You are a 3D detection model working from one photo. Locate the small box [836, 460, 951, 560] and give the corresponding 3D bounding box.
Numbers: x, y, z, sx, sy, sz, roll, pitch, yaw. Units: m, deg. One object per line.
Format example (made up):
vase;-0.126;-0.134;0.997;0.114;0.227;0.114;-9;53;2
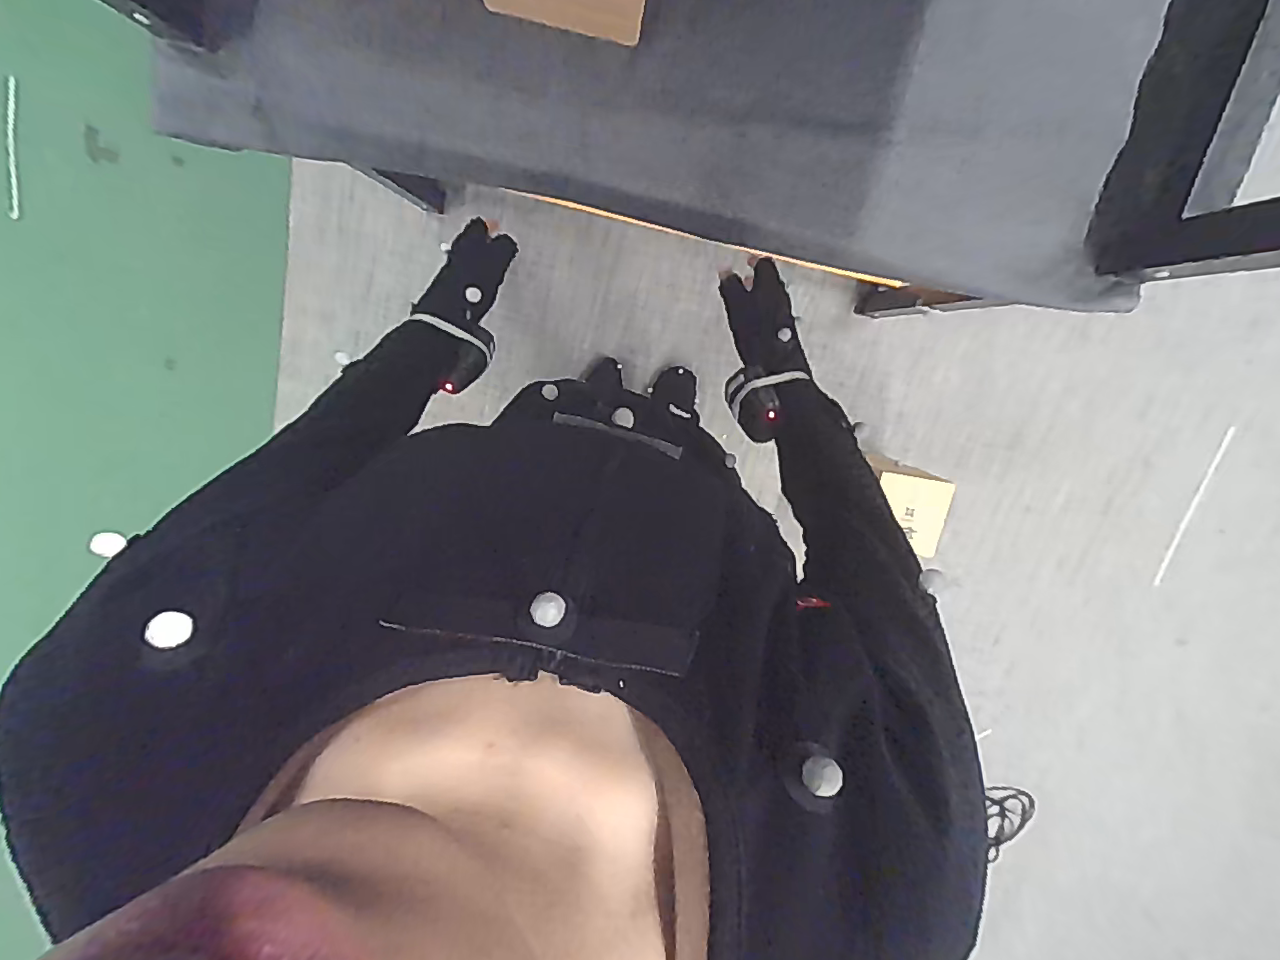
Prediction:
small box;0.575;0.064;1.254;0.168;0.176;0.179;10;103;-2
